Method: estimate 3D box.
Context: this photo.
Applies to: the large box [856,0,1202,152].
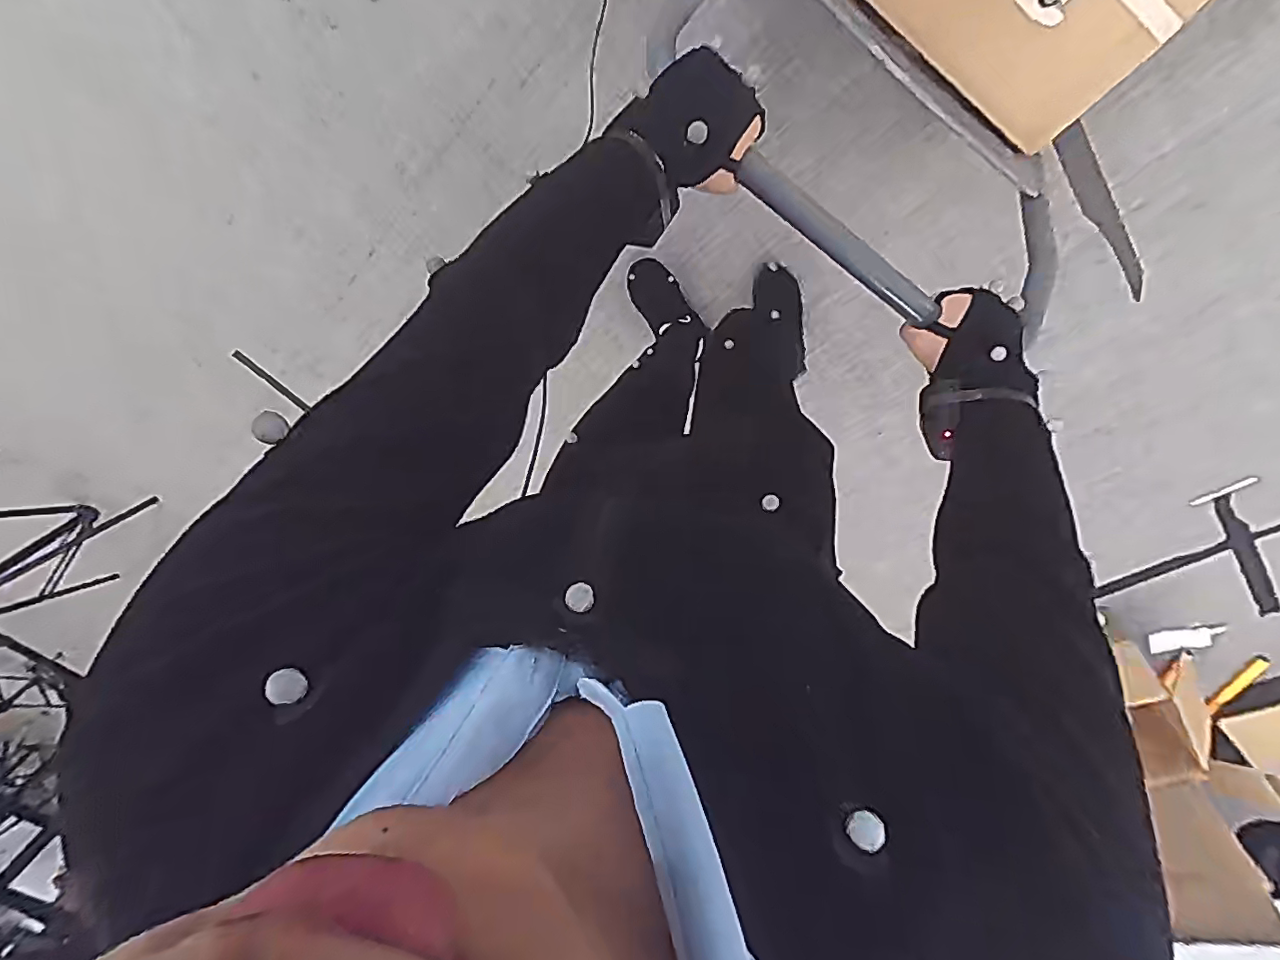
[{"bbox_3d":[0.474,-0.719,0.667,0.408,0.320,0.320,32,142,-13],"label":"large box"}]
